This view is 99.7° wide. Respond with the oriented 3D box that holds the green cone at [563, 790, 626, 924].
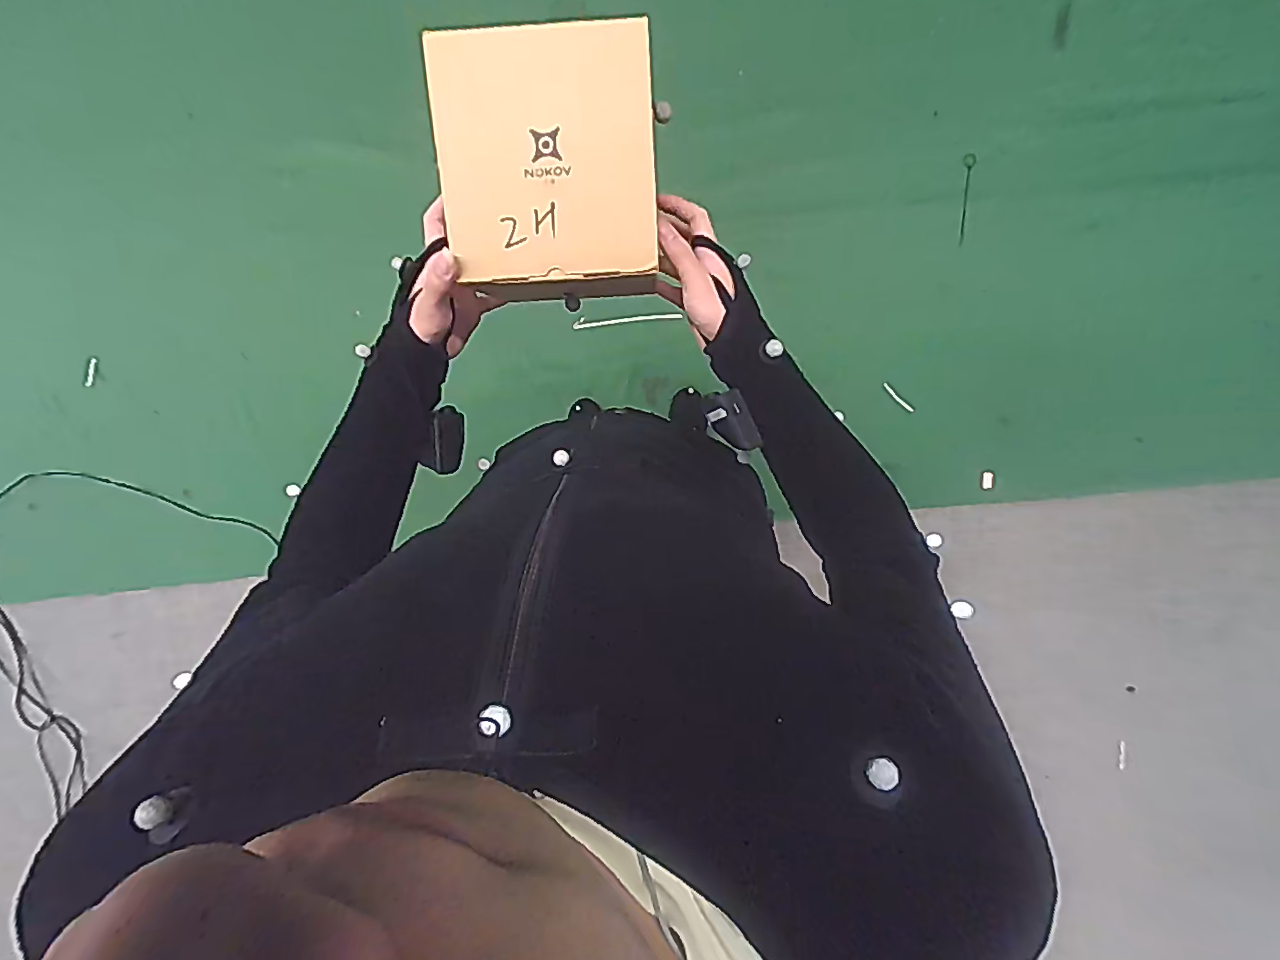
[{"bbox_3d":[-0.156,1.161,1.646,0.202,0.368,0.200,-6,99,2],"label":"green cone"}]
